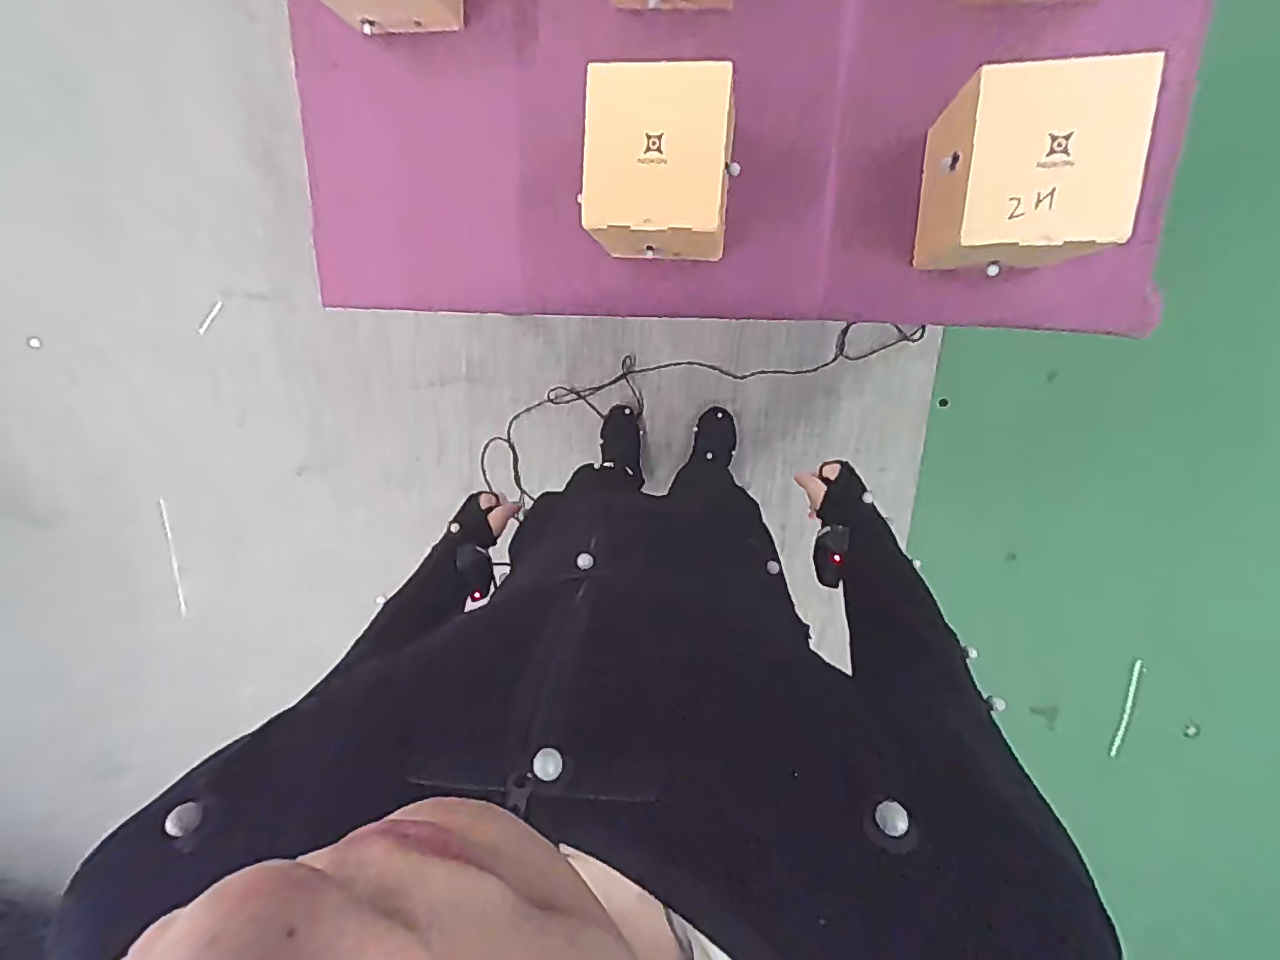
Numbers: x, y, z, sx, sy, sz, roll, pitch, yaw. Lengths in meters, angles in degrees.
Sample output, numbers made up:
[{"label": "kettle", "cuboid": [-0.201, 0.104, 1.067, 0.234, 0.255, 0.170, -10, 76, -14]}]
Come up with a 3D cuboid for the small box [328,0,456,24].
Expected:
[{"label": "small box", "cuboid": [-0.341, -0.707, 0.671, 0.168, 0.176, 0.179, 5, 106, 7]}]

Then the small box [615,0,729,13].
[{"label": "small box", "cuboid": [0.033, -0.692, 0.624, 0.168, 0.176, 0.179, 7, 106, 7]}]

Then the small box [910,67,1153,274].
[{"label": "small box", "cuboid": [0.442, -0.352, 0.646, 0.168, 0.176, 0.179, 4, 105, 9]}]

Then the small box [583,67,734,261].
[{"label": "small box", "cuboid": [0.027, -0.394, 0.701, 0.168, 0.176, 0.179, 5, 104, 7]}]
